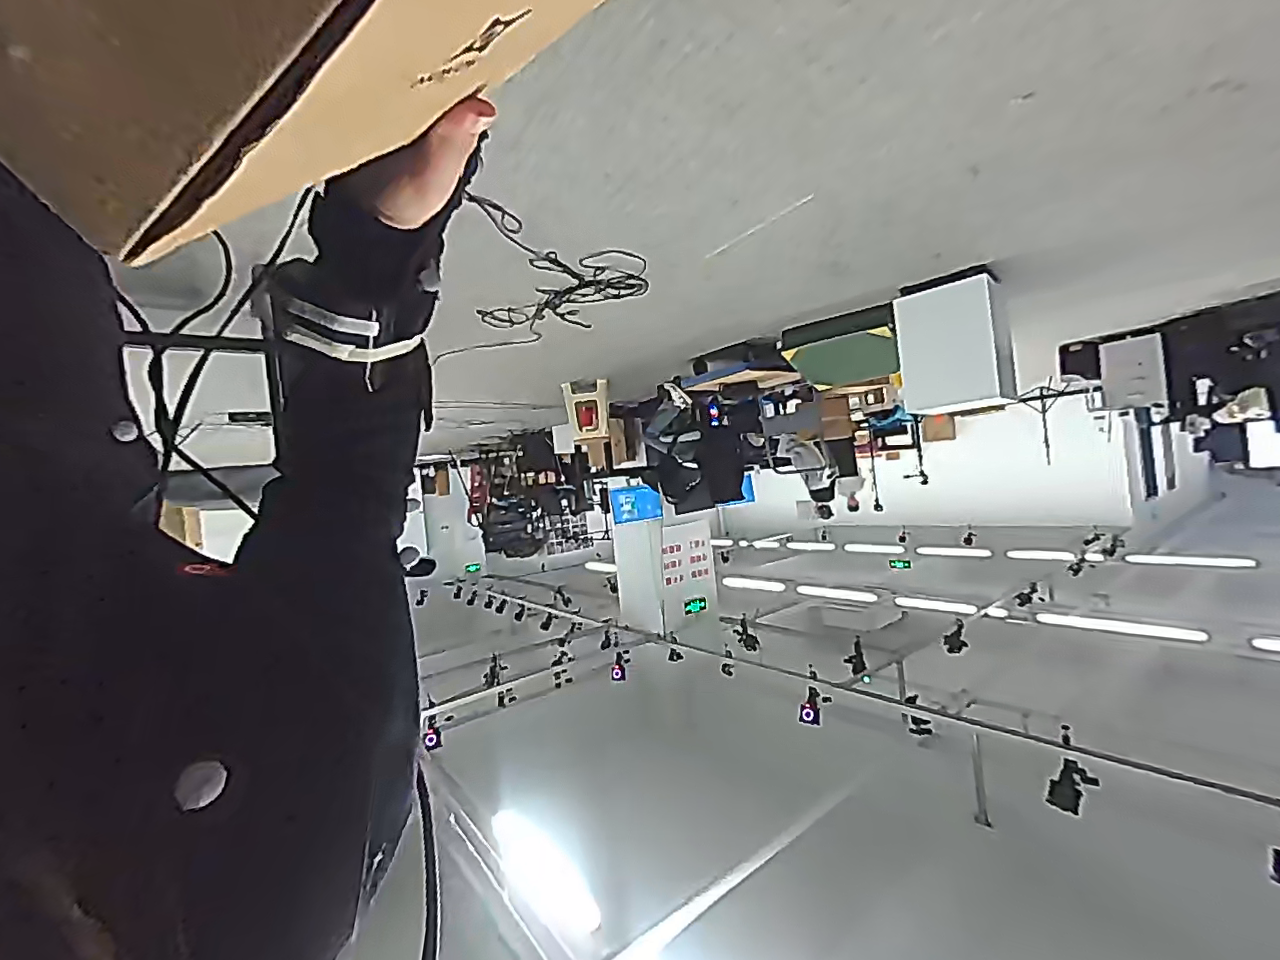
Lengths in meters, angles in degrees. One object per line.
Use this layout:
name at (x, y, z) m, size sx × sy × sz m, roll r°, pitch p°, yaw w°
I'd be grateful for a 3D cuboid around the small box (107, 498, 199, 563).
small box at (-1.443, 0.144, 1.609) m, size 0.168 × 0.176 × 0.179 m, roll -7°, pitch 180°, yaw -28°

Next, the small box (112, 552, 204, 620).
small box at (-1.438, 0.306, 1.622) m, size 0.179 × 0.176 × 0.168 m, roll -5°, pitch 179°, yaw -32°

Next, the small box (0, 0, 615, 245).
small box at (-0.089, -0.190, 0.120) m, size 0.179 × 0.176 × 0.168 m, roll -9°, pitch -141°, yaw 31°
